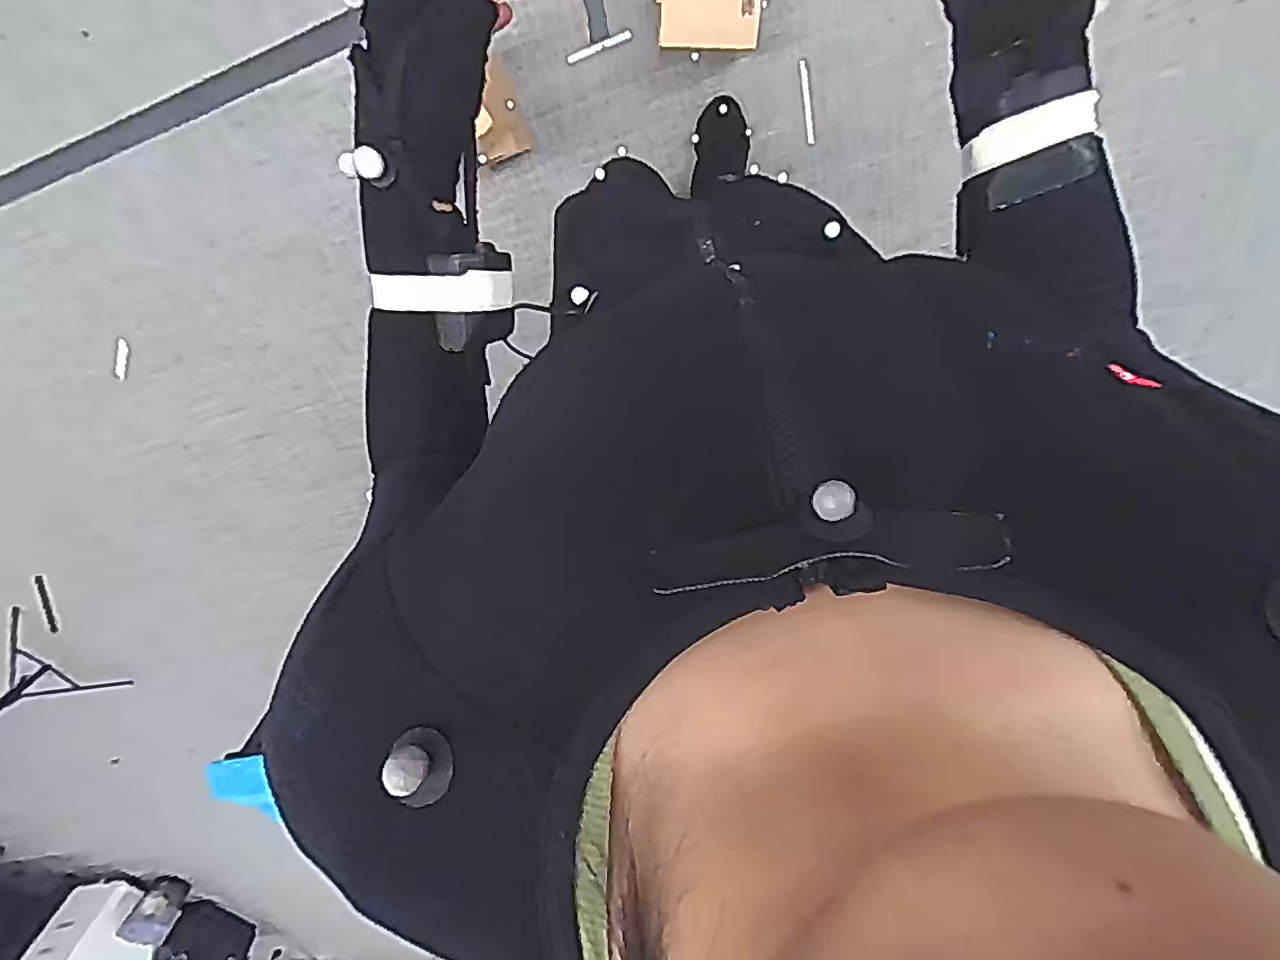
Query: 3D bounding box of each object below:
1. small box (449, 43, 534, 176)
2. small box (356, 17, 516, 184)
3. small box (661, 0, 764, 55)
[{"bbox_3d":[-0.333,-0.745,1.096,0.168,0.176,0.179,-14,121,12],"label":"small box"},{"bbox_3d":[-0.347,-0.661,0.954,0.168,0.176,0.179,-25,122,20],"label":"small box"},{"bbox_3d":[0.127,-0.885,0.981,0.179,0.176,0.168,0,123,1],"label":"small box"}]
